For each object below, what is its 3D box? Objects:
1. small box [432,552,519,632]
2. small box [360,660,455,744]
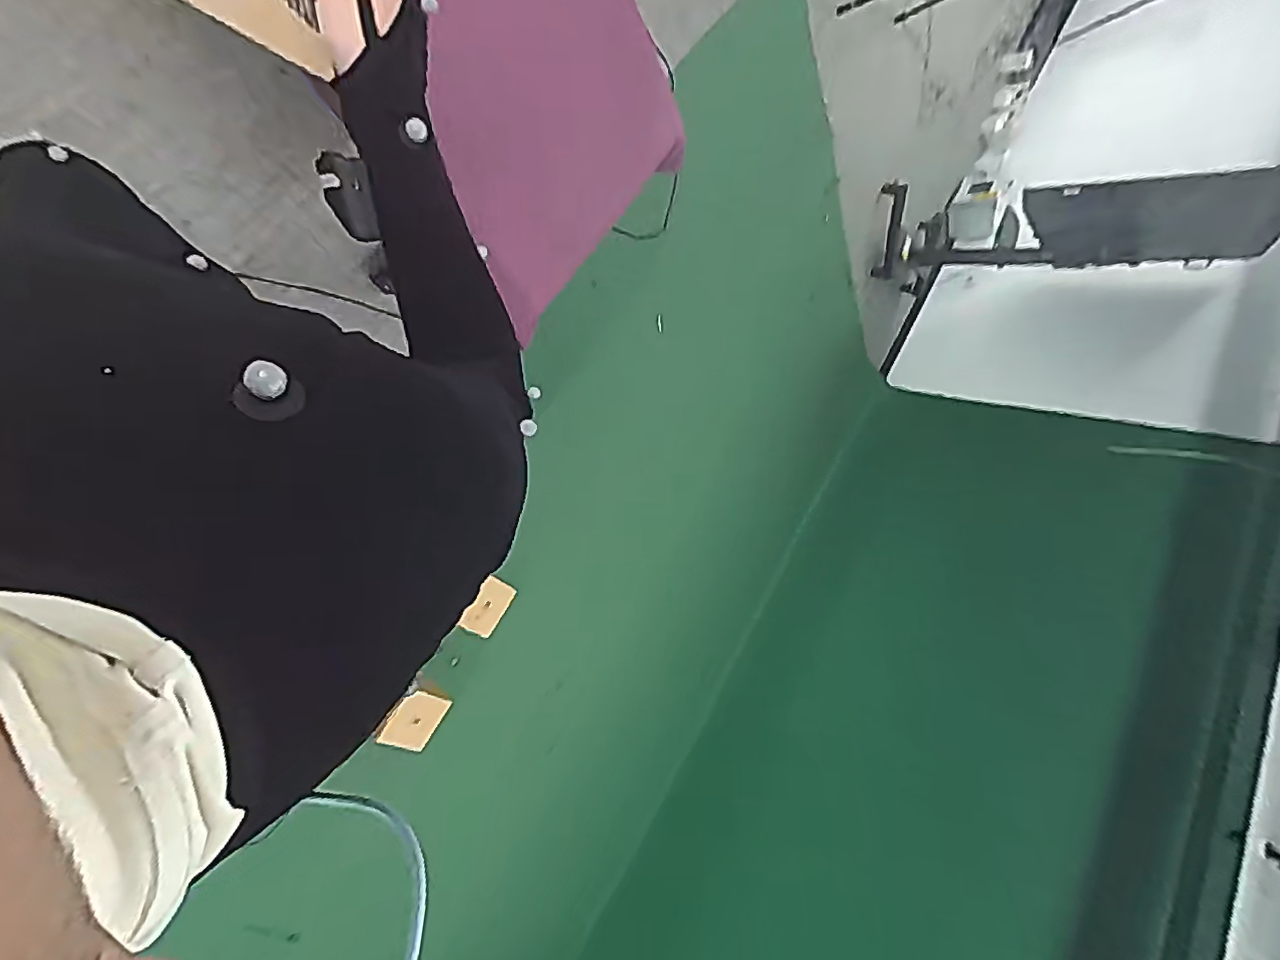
[{"bbox_3d":[-0.534,0.357,1.745,0.179,0.176,0.168,-58,140,-15],"label":"small box"},{"bbox_3d":[-0.716,0.676,1.661,0.168,0.176,0.179,-57,139,-15],"label":"small box"}]
